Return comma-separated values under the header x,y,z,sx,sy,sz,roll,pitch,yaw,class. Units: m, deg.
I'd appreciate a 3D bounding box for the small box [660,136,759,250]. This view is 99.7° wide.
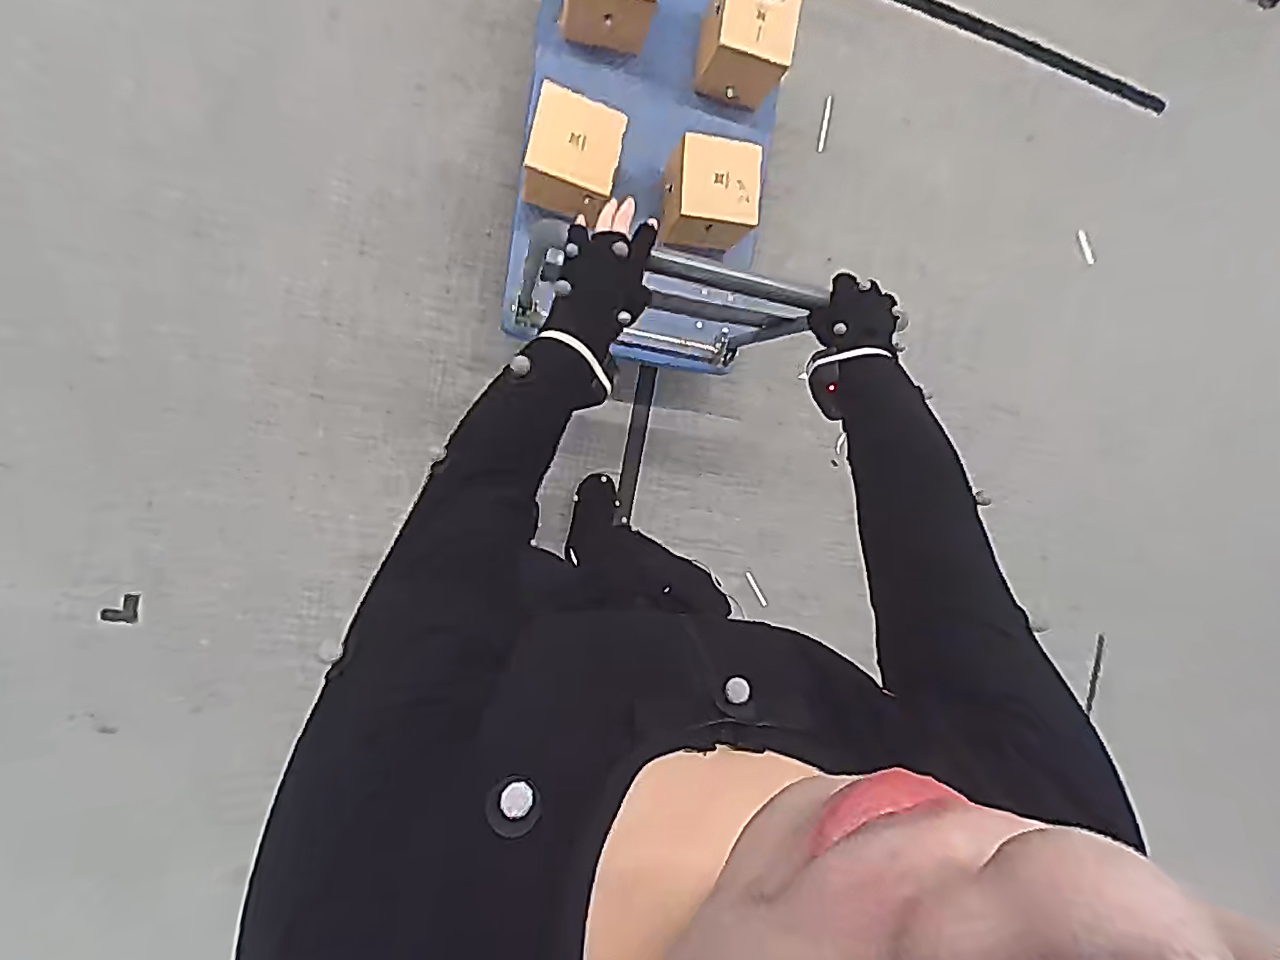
x,y,z,sx,sy,sz,roll,pitch,yaw,class
0.149,-0.634,1.217,0.179,0.176,0.168,2,95,-14,small box

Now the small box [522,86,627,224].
x,y,z,sx,sy,sz,roll,pitch,yaw,class
-0.146,-0.670,1.142,0.179,0.176,0.168,13,91,-16,small box

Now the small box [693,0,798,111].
x,y,z,sx,sy,sz,roll,pitch,yaw,class
0.229,-0.977,1.206,0.168,0.176,0.179,7,94,-14,small box
